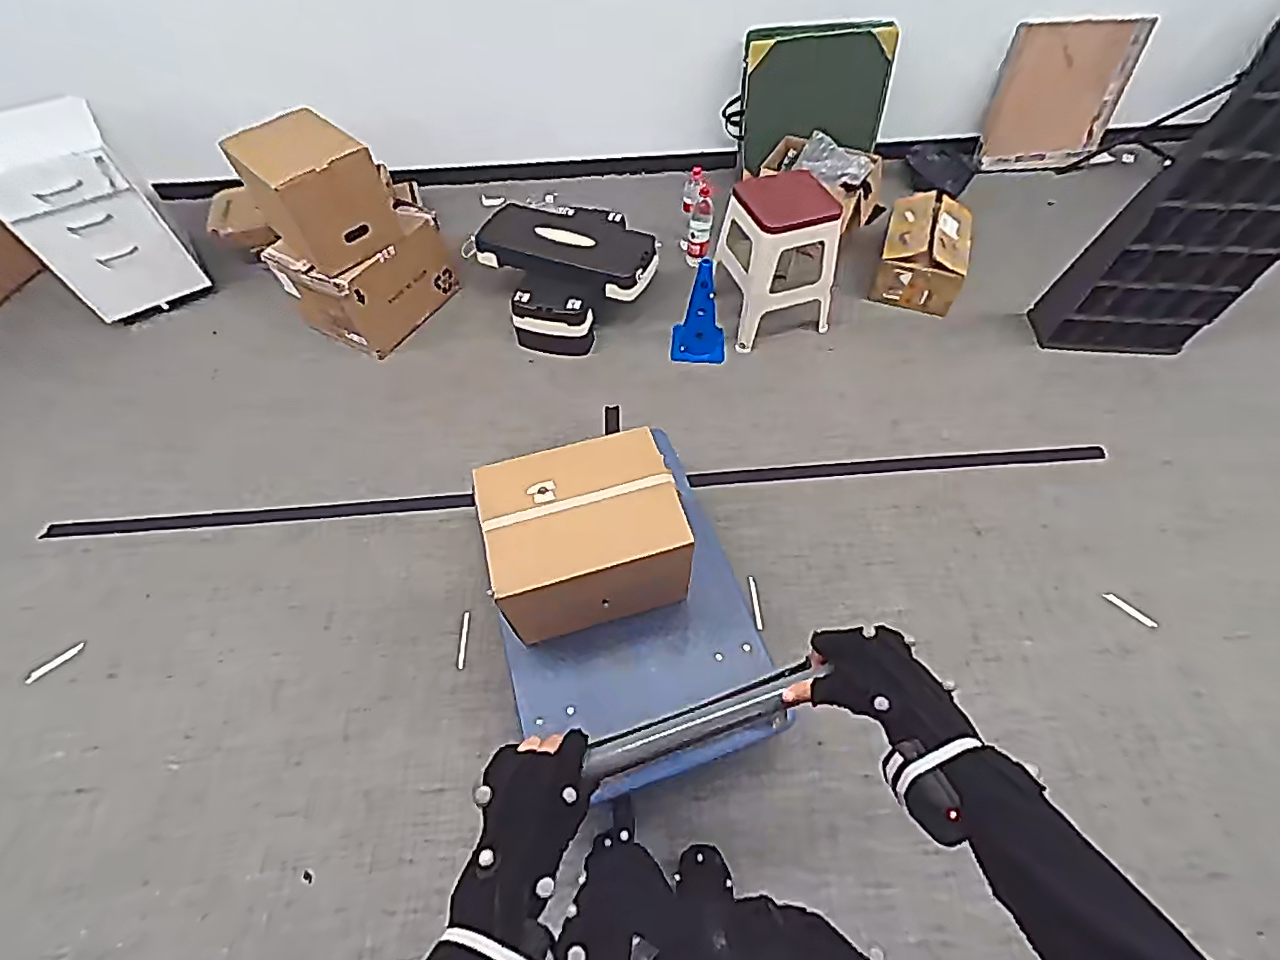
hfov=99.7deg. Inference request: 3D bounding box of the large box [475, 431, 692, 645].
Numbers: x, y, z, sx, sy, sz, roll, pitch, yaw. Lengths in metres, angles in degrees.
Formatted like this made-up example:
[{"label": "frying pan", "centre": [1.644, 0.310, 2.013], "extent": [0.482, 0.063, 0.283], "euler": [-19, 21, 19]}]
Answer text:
[{"label": "large box", "centre": [-0.122, 0.141, 1.258], "extent": [0.408, 0.320, 0.320], "euler": [-16, 57, -8]}]
